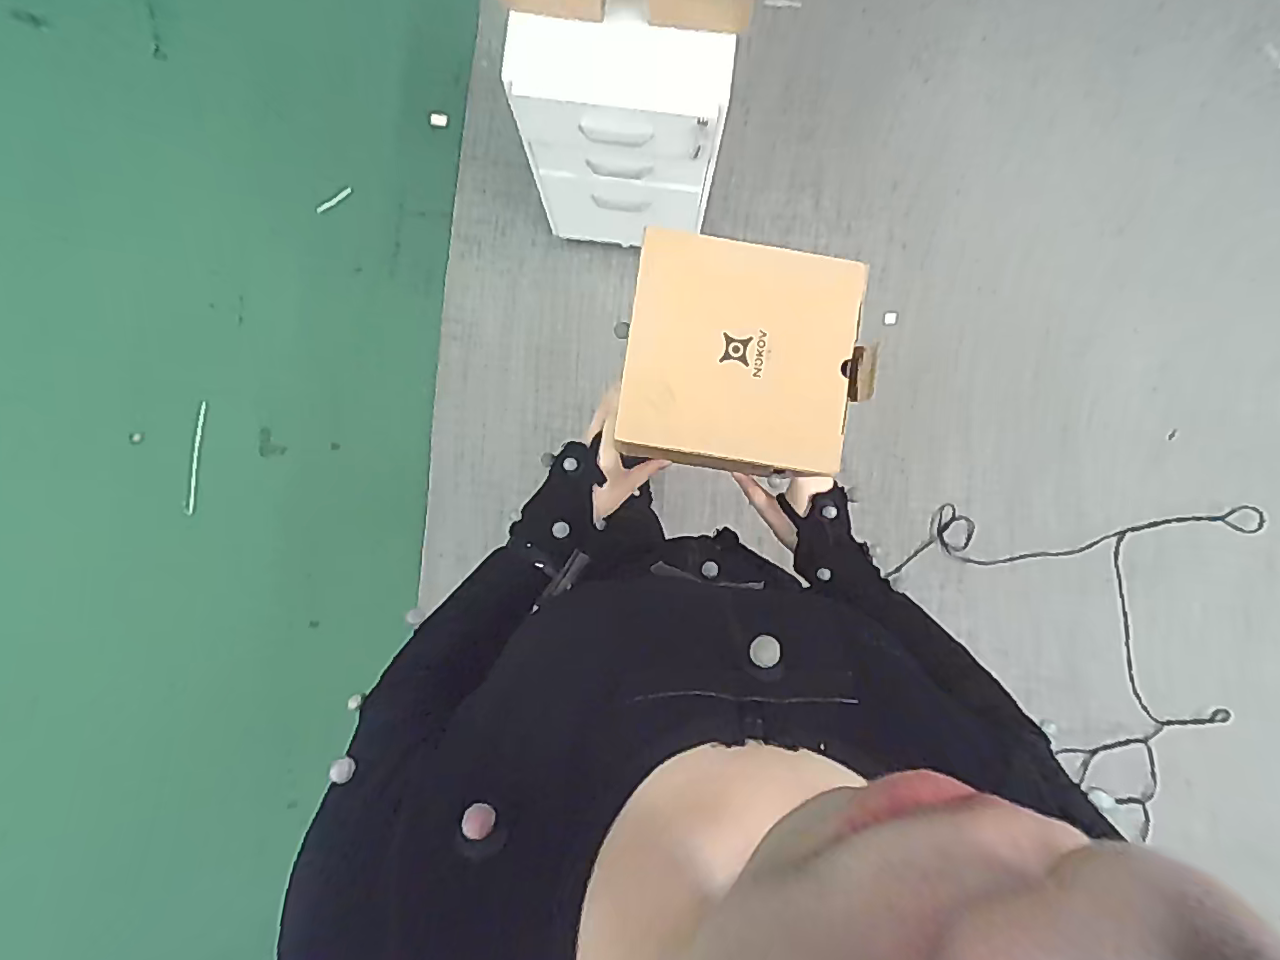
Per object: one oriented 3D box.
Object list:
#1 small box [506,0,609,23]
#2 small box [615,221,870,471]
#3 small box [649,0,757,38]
[{"bbox_3d":[-0.135,-0.872,0.851,0.179,0.176,0.168,7,88,0],"label":"small box"},{"bbox_3d":[0.075,-0.101,0.487,0.179,0.176,0.168,9,89,-3],"label":"small box"},{"bbox_3d":[0.110,-0.846,0.851,0.179,0.176,0.168,6,87,3],"label":"small box"}]
